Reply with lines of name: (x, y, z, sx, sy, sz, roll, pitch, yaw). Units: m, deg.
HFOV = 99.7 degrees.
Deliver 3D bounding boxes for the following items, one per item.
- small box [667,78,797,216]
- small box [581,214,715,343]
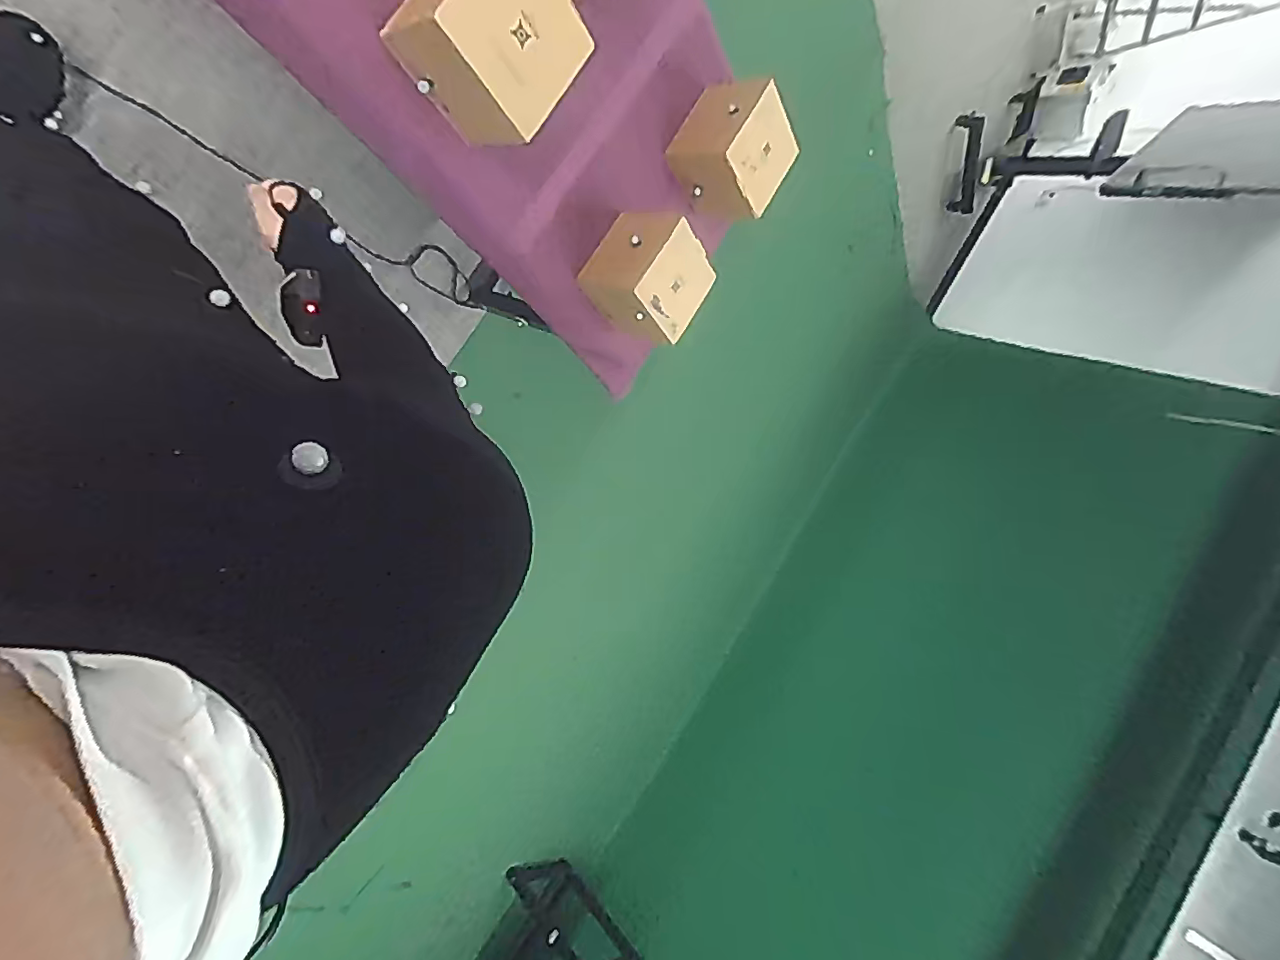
small box: (0.187, -0.674, 1.107, 0.168, 0.176, 0.179, 36, 85, -49)
small box: (0.015, -0.406, 1.077, 0.179, 0.176, 0.168, -59, 141, -7)
